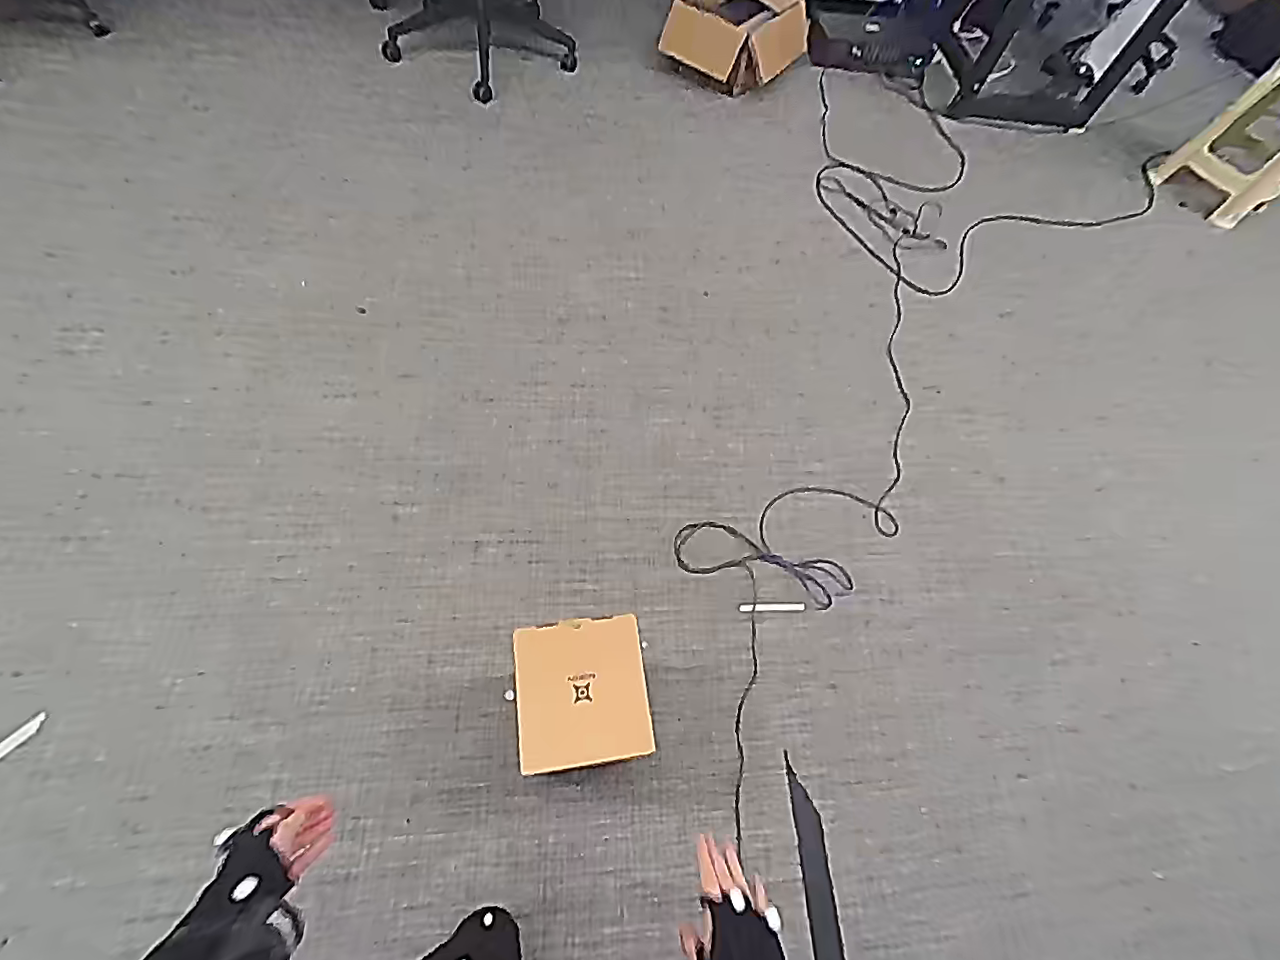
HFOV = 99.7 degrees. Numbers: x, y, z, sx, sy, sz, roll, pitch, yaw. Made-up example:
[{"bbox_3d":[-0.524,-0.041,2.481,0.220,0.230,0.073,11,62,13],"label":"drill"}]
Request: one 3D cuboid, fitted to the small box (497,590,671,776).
[{"bbox_3d":[-0.075,0.272,0.731,0.179,0.176,0.168,-18,46,3],"label":"small box"}]
